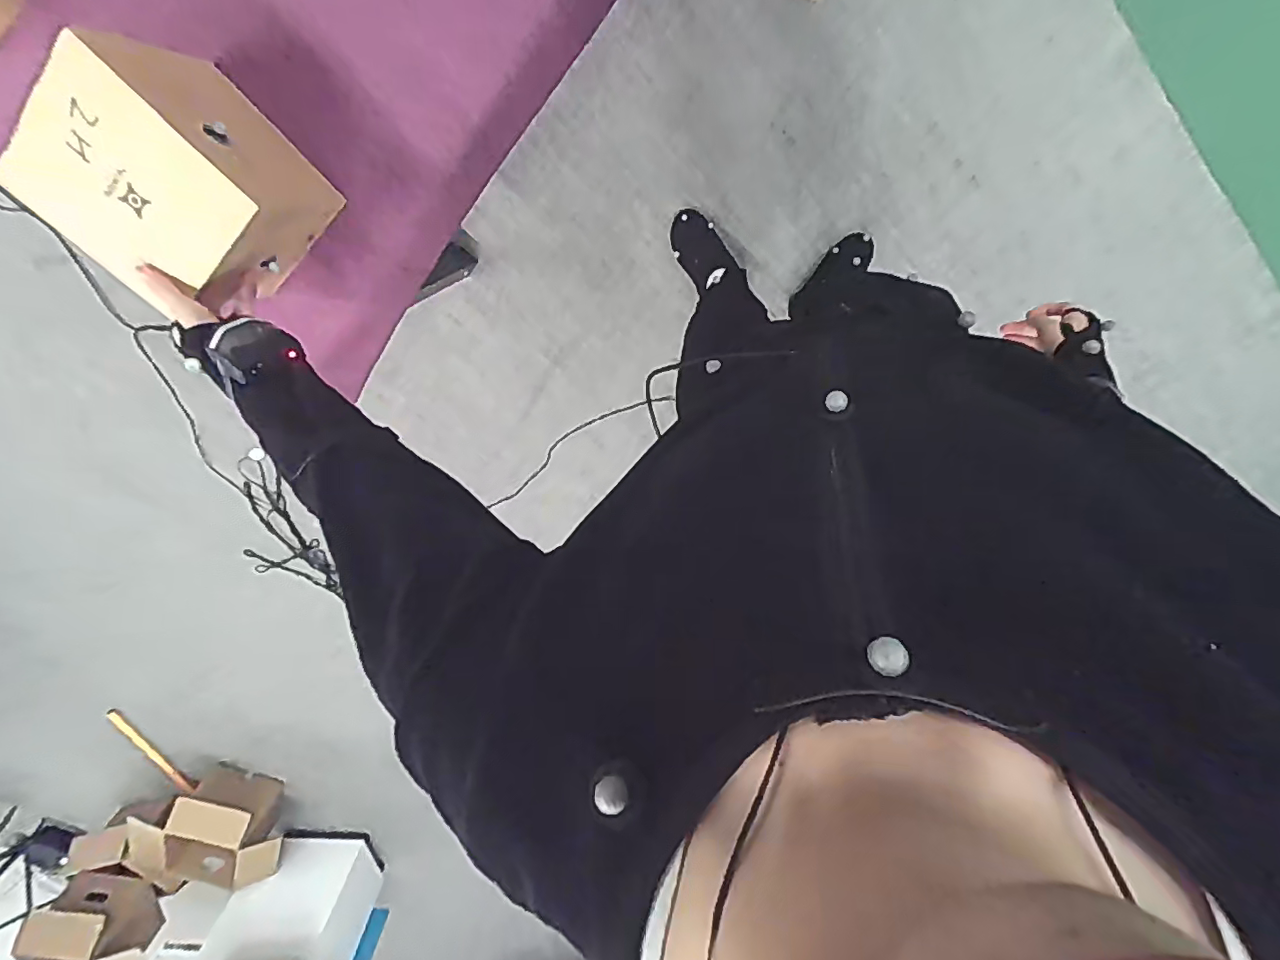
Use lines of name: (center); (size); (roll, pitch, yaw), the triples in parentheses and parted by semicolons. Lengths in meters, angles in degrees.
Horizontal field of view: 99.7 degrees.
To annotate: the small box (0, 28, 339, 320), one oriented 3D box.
small box: (-0.457, -0.301, 0.555); (0.168, 0.176, 0.179); (-36, 113, 19)
